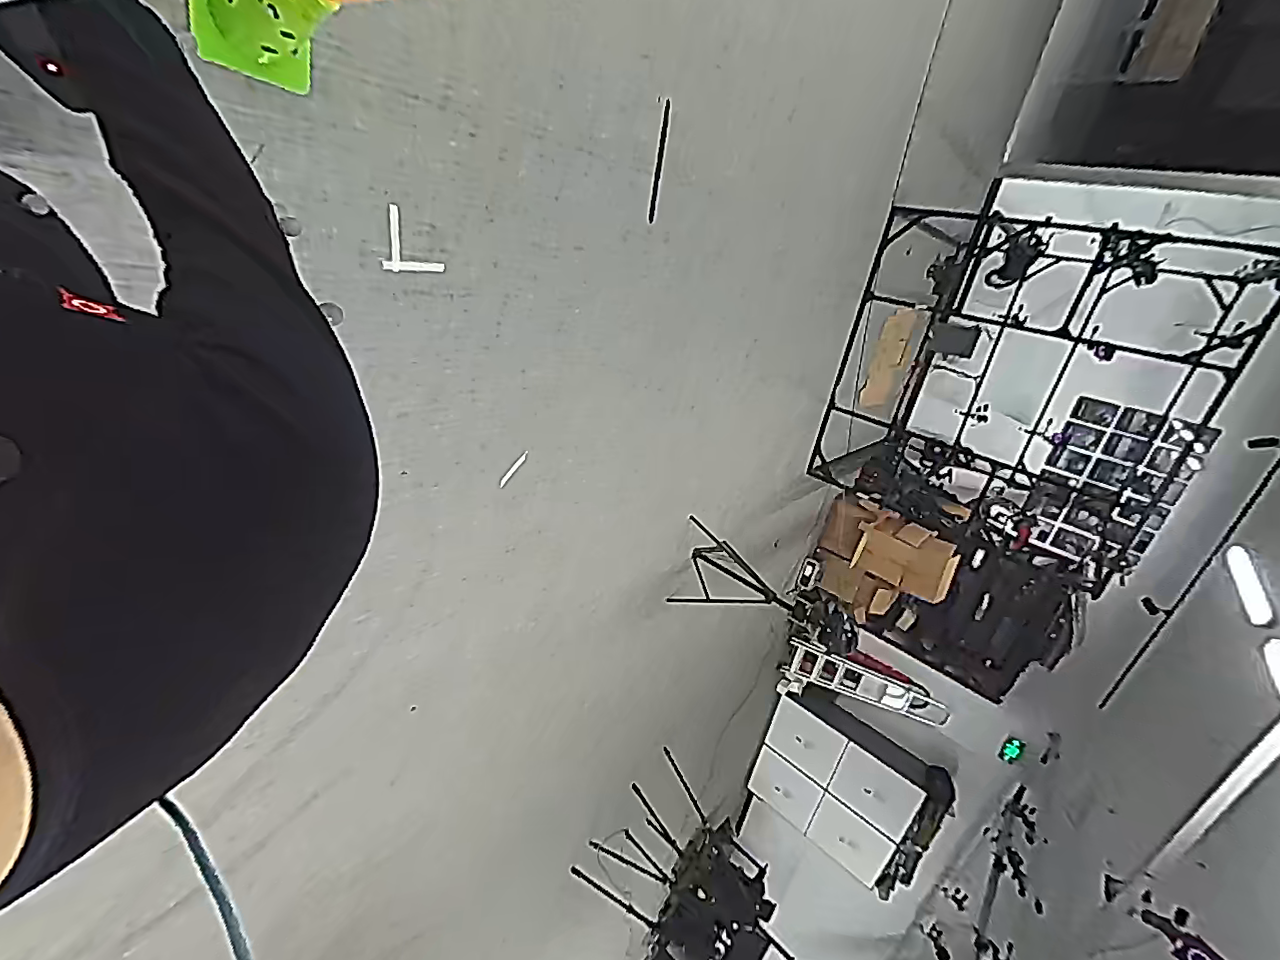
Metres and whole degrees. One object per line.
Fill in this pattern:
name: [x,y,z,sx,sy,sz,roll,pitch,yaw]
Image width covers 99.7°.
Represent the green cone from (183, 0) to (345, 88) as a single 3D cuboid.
green cone: [-0.626,-0.835,0.947,0.202,0.368,0.200,-14,123,-50]
